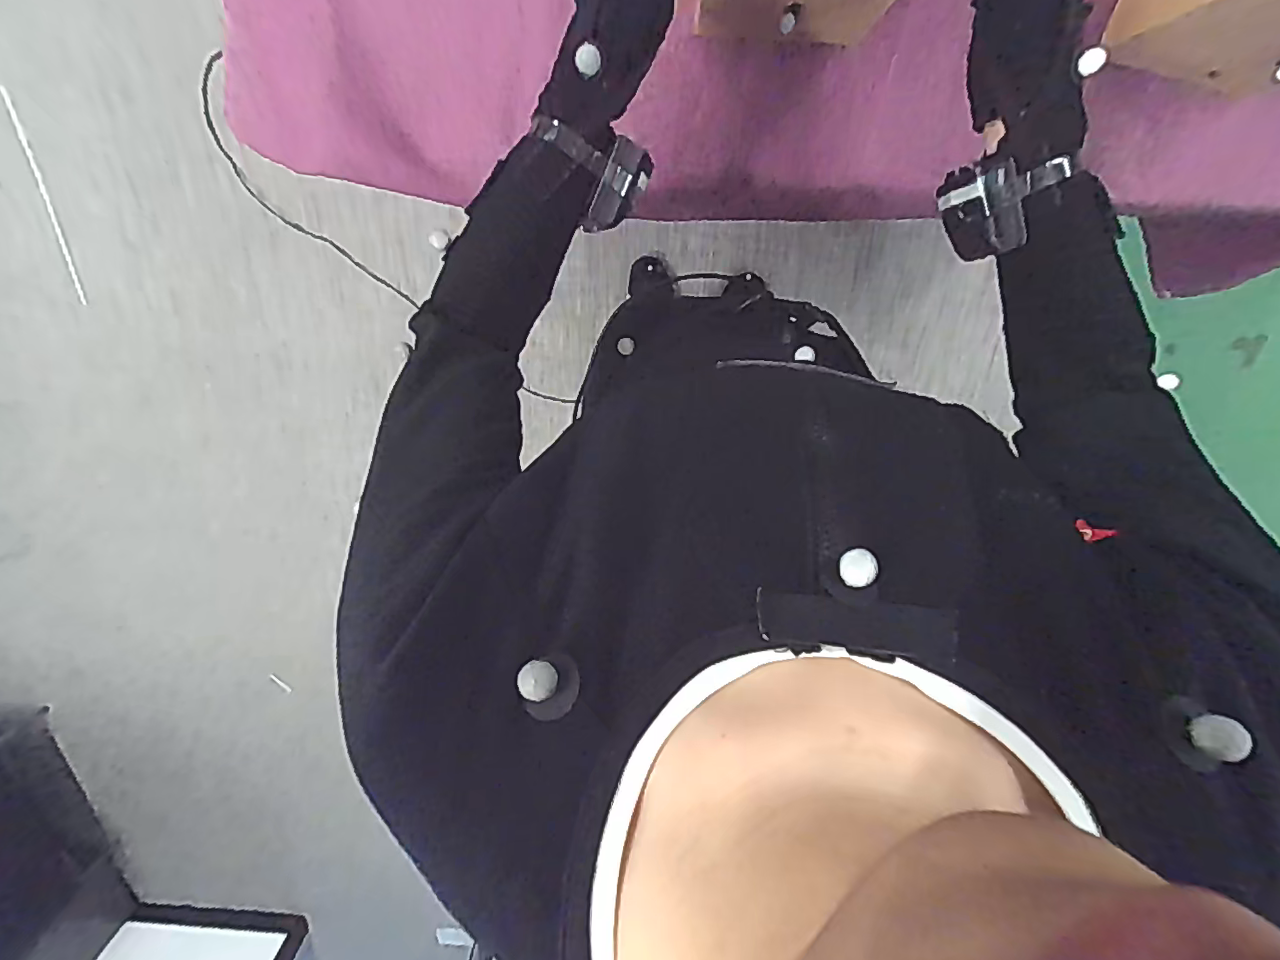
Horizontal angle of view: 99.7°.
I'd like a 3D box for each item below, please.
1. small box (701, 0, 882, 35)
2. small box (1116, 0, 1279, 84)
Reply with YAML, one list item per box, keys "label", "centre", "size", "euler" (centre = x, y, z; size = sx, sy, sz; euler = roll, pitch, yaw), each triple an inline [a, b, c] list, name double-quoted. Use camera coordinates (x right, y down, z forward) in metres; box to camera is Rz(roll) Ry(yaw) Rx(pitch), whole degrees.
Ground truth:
- label: "small box"
  centre: [0.139, -0.494, 0.436]
  size: [0.168, 0.176, 0.179]
  euler: [4, 114, 2]
- label: "small box"
  centre: [0.543, -0.449, 0.427]
  size: [0.168, 0.176, 0.179]
  euler: [13, 113, -2]
